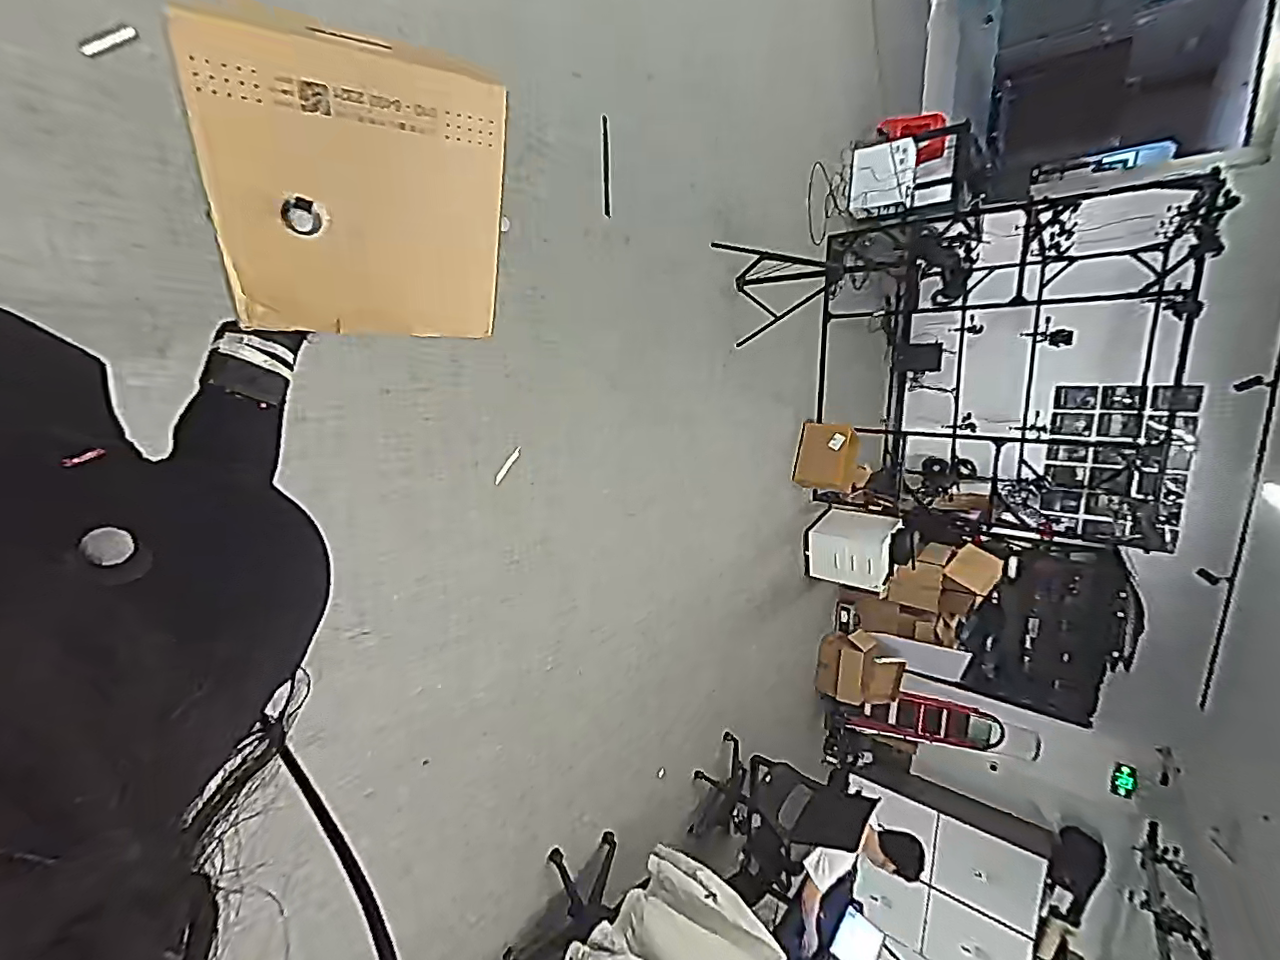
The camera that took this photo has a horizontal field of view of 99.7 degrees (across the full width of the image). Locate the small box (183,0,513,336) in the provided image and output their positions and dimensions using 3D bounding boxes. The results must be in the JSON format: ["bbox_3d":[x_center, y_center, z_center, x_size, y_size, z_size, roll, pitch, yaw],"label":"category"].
[{"bbox_3d":[-0.192,-0.223,0.387,0.168,0.179,0.176,-3,131,-26],"label":"small box"}]
